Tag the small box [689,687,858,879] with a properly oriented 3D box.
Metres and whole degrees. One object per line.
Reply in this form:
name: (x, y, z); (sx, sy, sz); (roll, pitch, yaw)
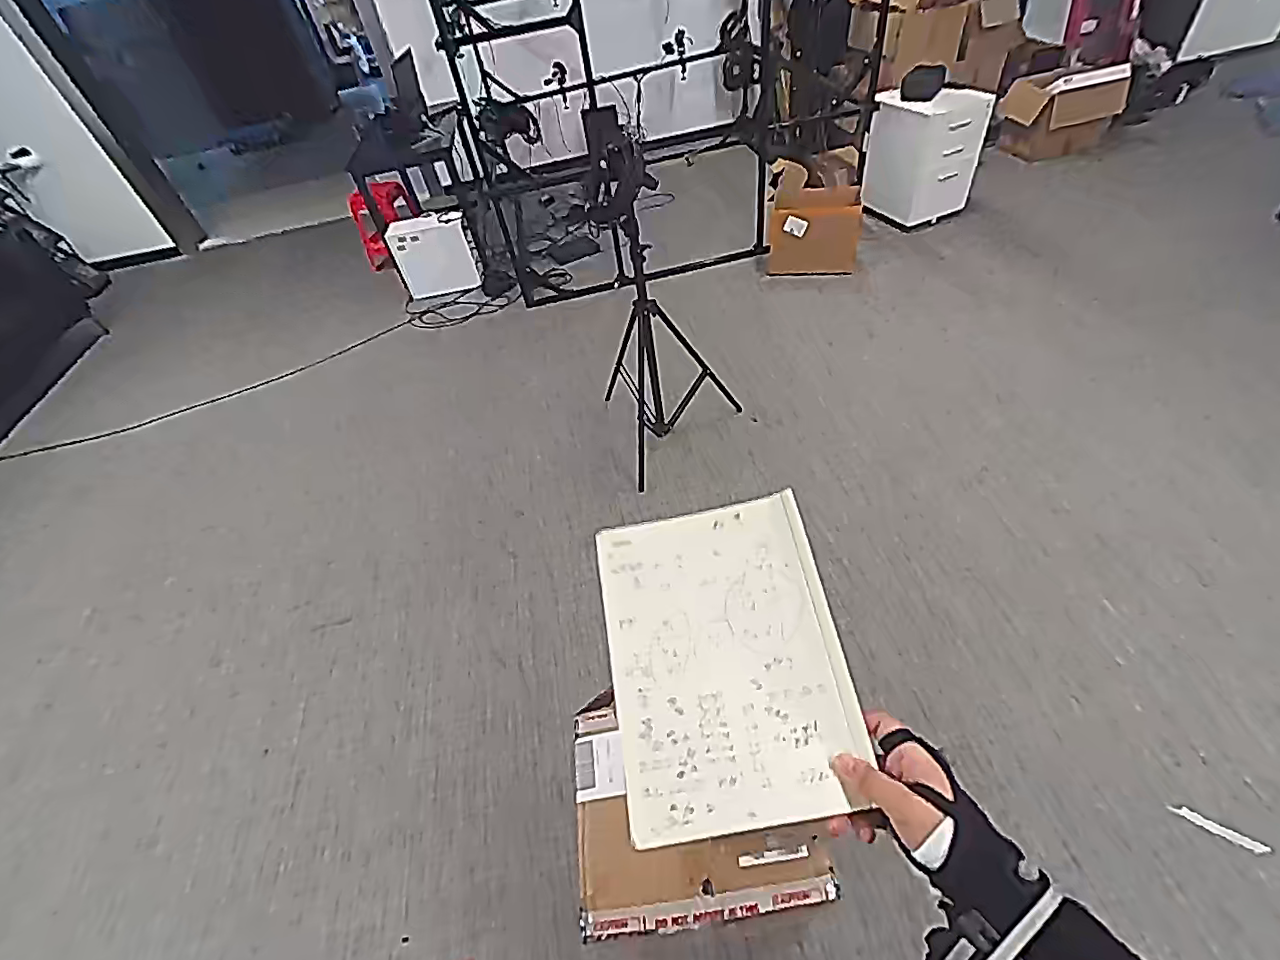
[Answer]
small box: (0.154, 0.390, 0.695); (0.168, 0.176, 0.179); (-6, 48, 1)
